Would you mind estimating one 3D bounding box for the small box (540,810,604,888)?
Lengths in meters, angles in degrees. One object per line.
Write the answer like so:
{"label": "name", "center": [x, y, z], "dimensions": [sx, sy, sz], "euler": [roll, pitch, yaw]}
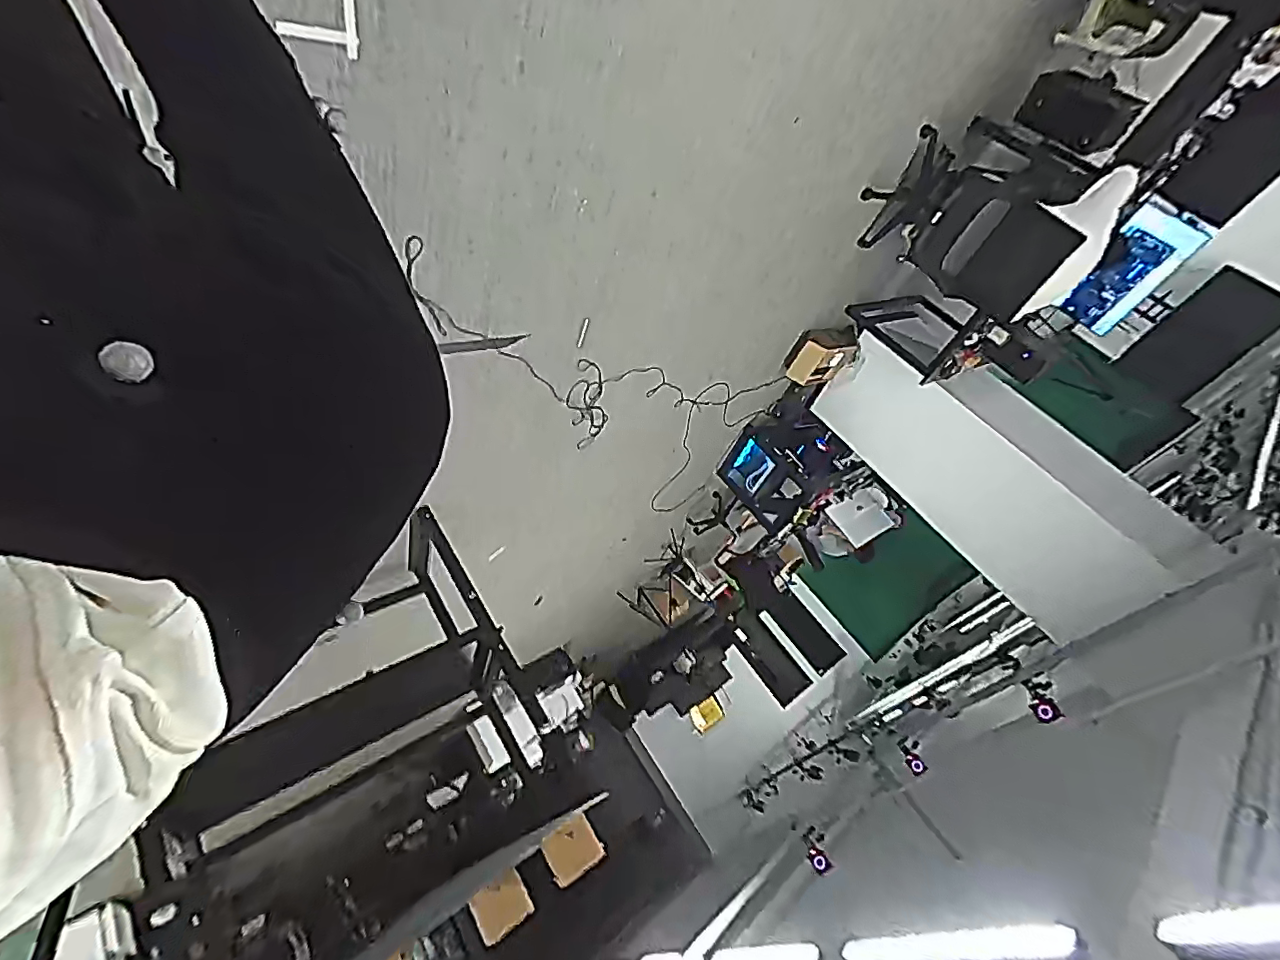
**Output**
{"label": "small box", "center": [-0.251, 1.327, 1.949], "dimensions": [0.168, 0.176, 0.179], "euler": [-24, 151, -28]}
